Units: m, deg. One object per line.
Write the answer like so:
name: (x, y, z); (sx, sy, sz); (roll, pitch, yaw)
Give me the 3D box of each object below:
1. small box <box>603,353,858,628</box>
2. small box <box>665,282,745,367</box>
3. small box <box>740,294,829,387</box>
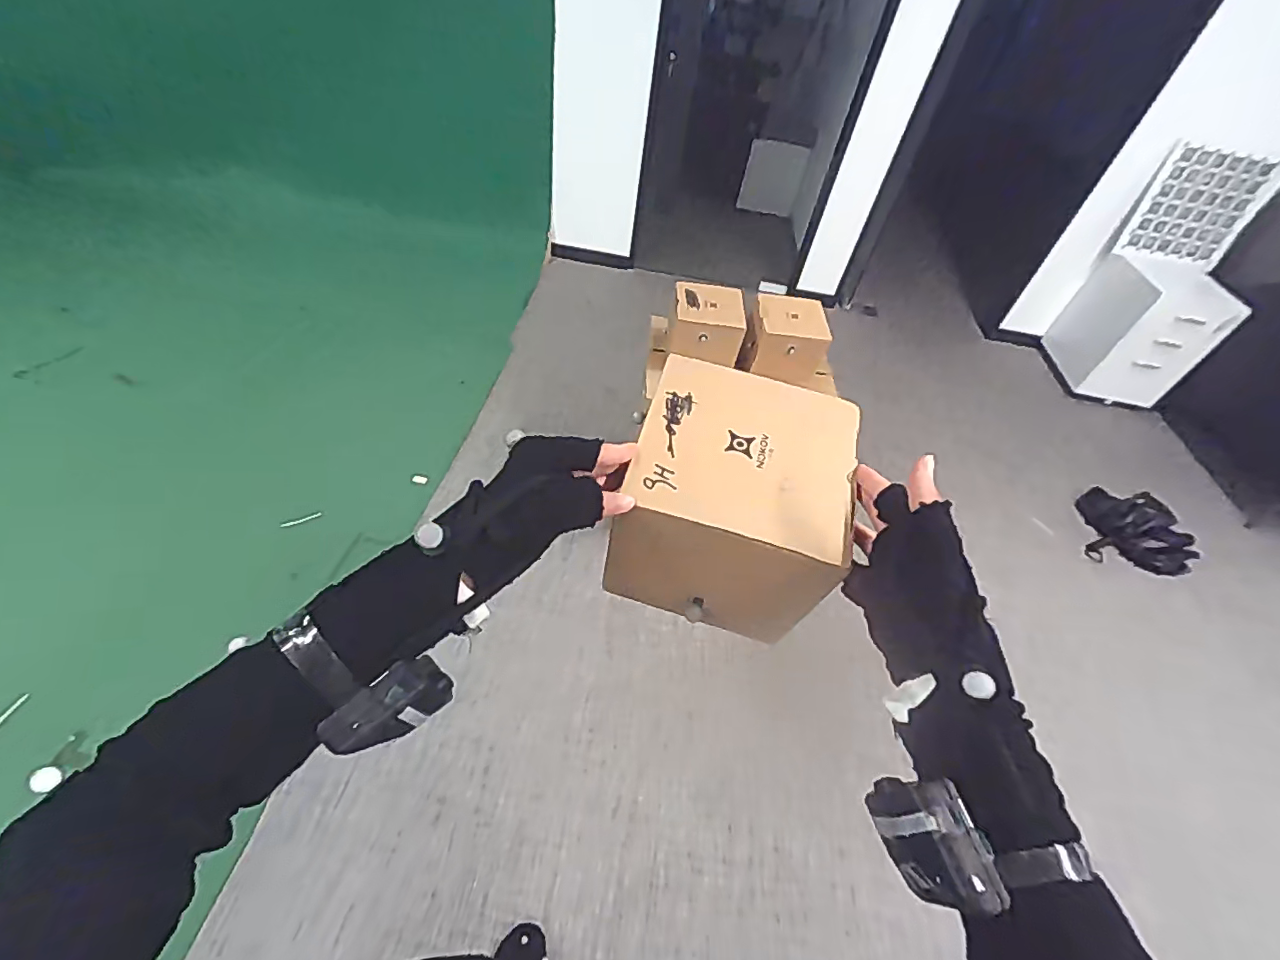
small box: (0.077, 0.019, 0.501); (0.179, 0.176, 0.168); (18, 54, 2)
small box: (0.163, -0.391, 1.423); (0.179, 0.176, 0.168); (6, 52, -6)
small box: (0.375, -0.368, 1.444); (0.179, 0.176, 0.168); (6, 53, -7)
